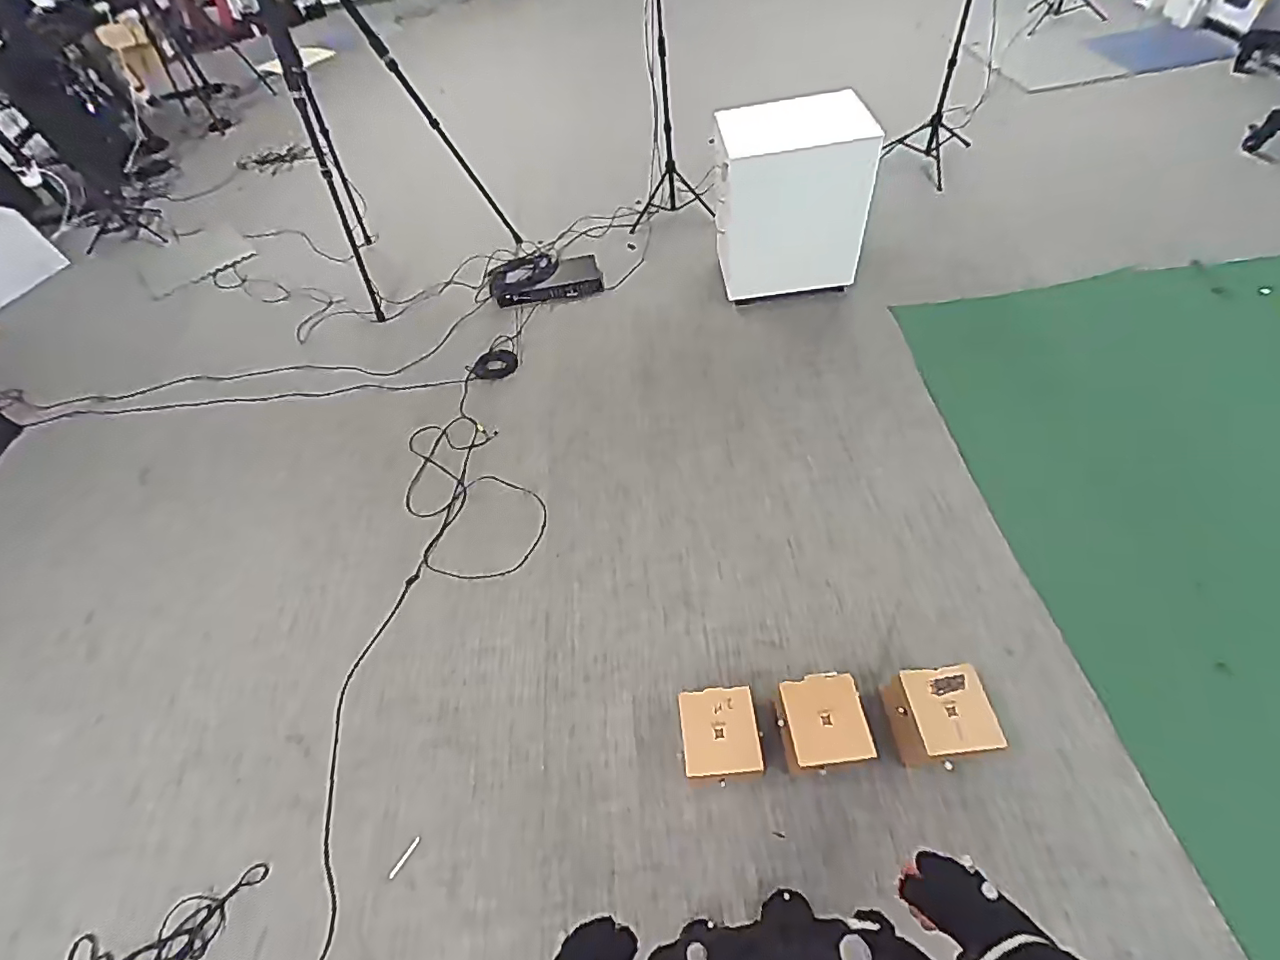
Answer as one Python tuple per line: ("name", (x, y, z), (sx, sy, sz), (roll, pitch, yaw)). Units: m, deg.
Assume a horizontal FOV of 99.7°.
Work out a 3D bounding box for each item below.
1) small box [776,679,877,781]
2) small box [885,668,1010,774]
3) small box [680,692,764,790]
("small box", (0.416, 0.577, 1.235), (0.168, 0.176, 0.179), (-8, 53, 1))
("small box", (0.677, 0.545, 1.219), (0.168, 0.176, 0.179), (-8, 54, 2))
("small box", (0.186, 0.606, 1.245), (0.168, 0.176, 0.179), (-7, 53, 3))
